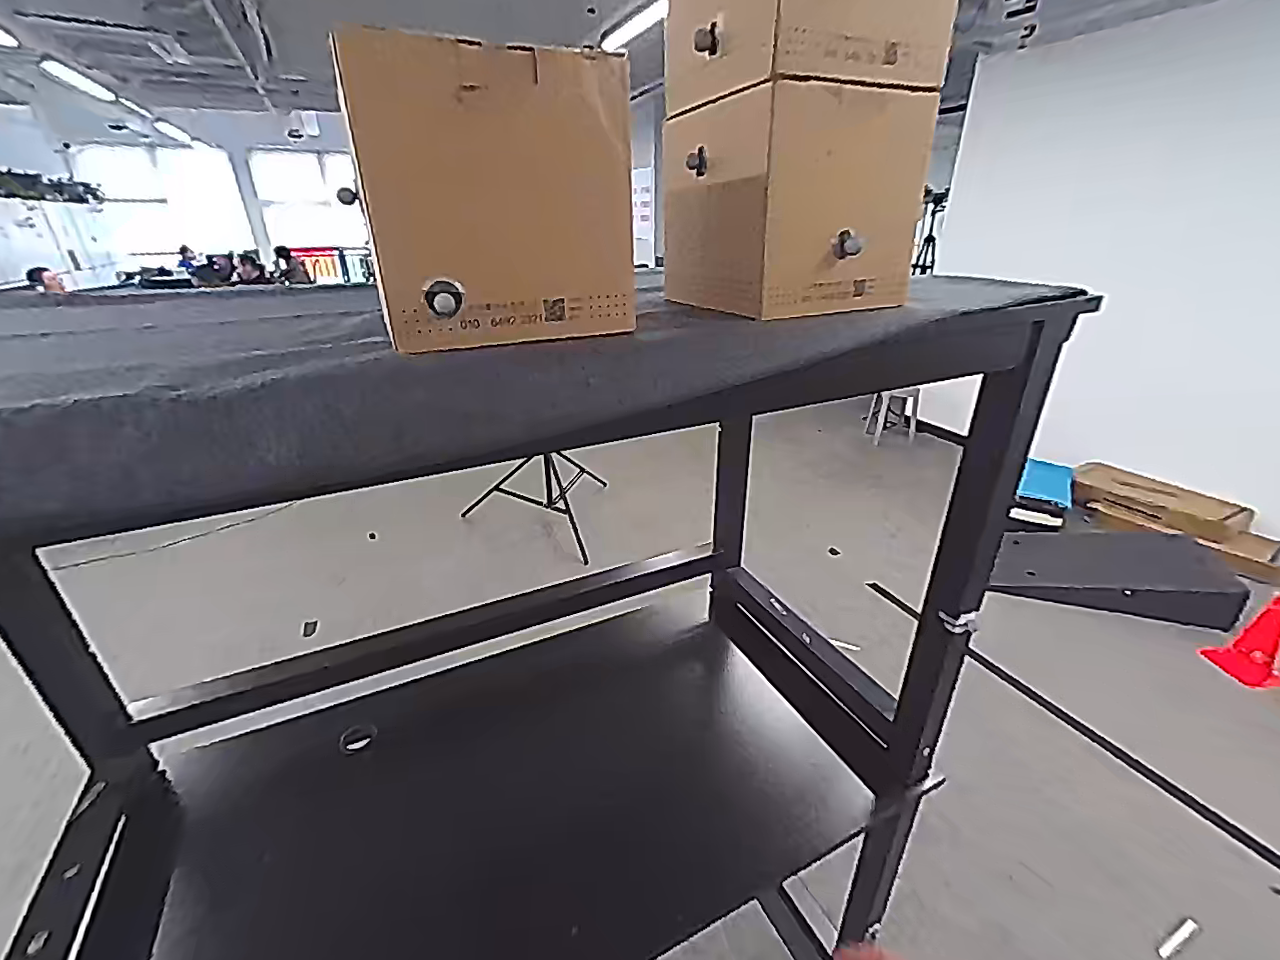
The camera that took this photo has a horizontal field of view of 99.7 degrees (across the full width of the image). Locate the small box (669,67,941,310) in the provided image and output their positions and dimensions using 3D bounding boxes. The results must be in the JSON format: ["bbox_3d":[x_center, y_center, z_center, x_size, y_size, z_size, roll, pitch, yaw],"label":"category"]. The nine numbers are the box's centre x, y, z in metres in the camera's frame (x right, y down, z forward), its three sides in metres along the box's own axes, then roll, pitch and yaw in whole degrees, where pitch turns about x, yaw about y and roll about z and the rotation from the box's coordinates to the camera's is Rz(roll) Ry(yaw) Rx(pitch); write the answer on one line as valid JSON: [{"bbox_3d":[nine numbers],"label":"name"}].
[{"bbox_3d":[0.135,-0.256,0.506,0.168,0.176,0.179,-13,27,-21],"label":"small box"}]

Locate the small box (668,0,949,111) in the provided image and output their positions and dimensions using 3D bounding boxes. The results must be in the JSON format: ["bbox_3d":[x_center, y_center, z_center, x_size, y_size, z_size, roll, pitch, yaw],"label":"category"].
[{"bbox_3d":[0.132,-0.405,0.438,0.168,0.176,0.179,-12,27,-21],"label":"small box"}]

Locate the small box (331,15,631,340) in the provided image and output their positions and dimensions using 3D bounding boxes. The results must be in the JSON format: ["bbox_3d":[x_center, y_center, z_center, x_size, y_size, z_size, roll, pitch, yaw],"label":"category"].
[{"bbox_3d":[-0.113,-0.201,0.400,0.168,0.176,0.179,-12,25,-23],"label":"small box"}]
